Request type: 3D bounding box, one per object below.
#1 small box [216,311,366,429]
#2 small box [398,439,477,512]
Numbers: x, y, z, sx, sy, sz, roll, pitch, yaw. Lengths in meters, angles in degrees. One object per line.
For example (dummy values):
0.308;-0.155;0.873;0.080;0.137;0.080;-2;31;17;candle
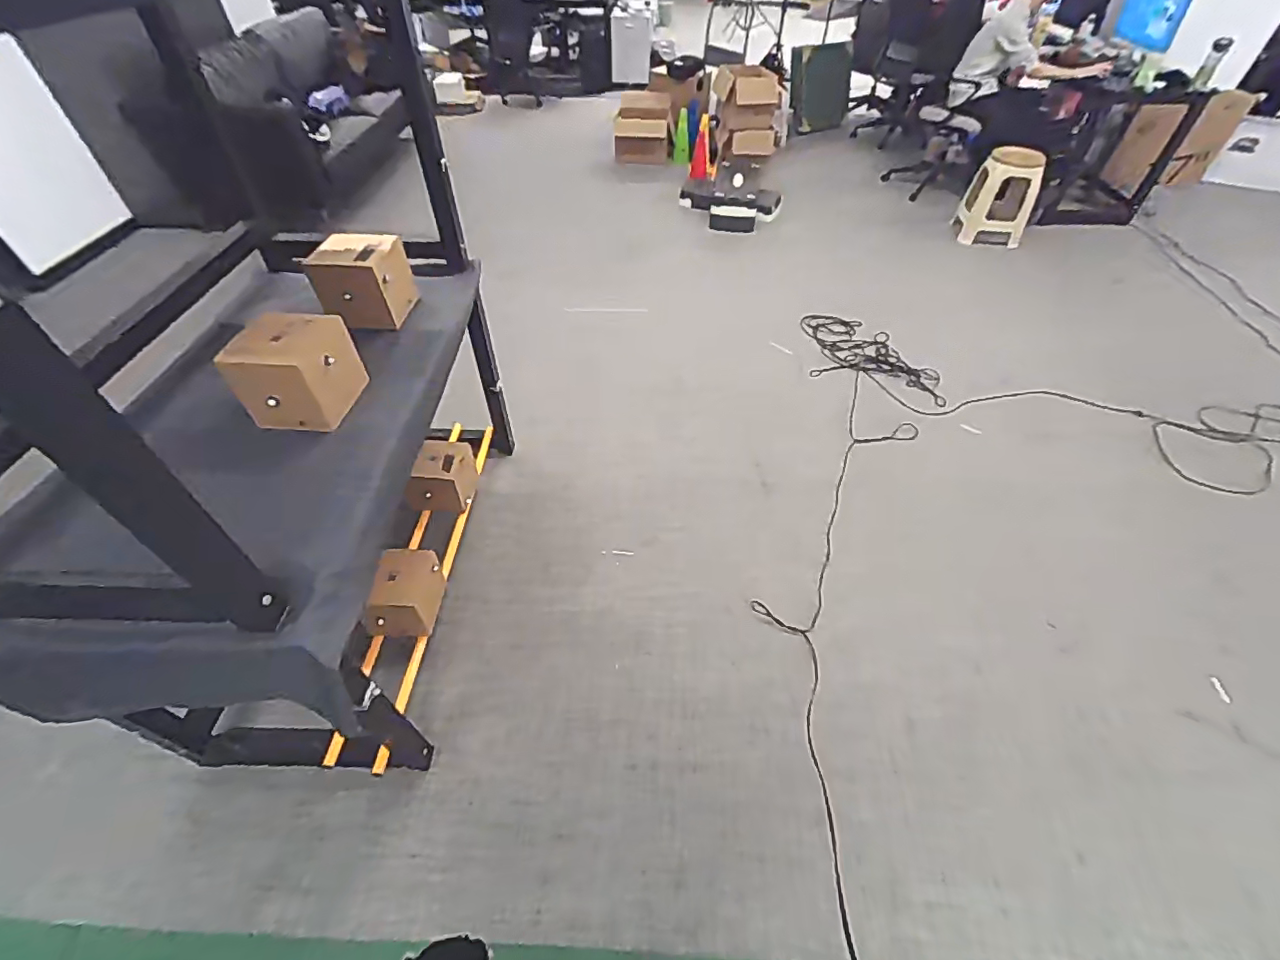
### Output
-0.693;-0.222;1.104;0.168;0.176;0.179;4;48;3;small box
-0.647;-0.010;1.756;0.179;0.176;0.168;4;47;3;small box
